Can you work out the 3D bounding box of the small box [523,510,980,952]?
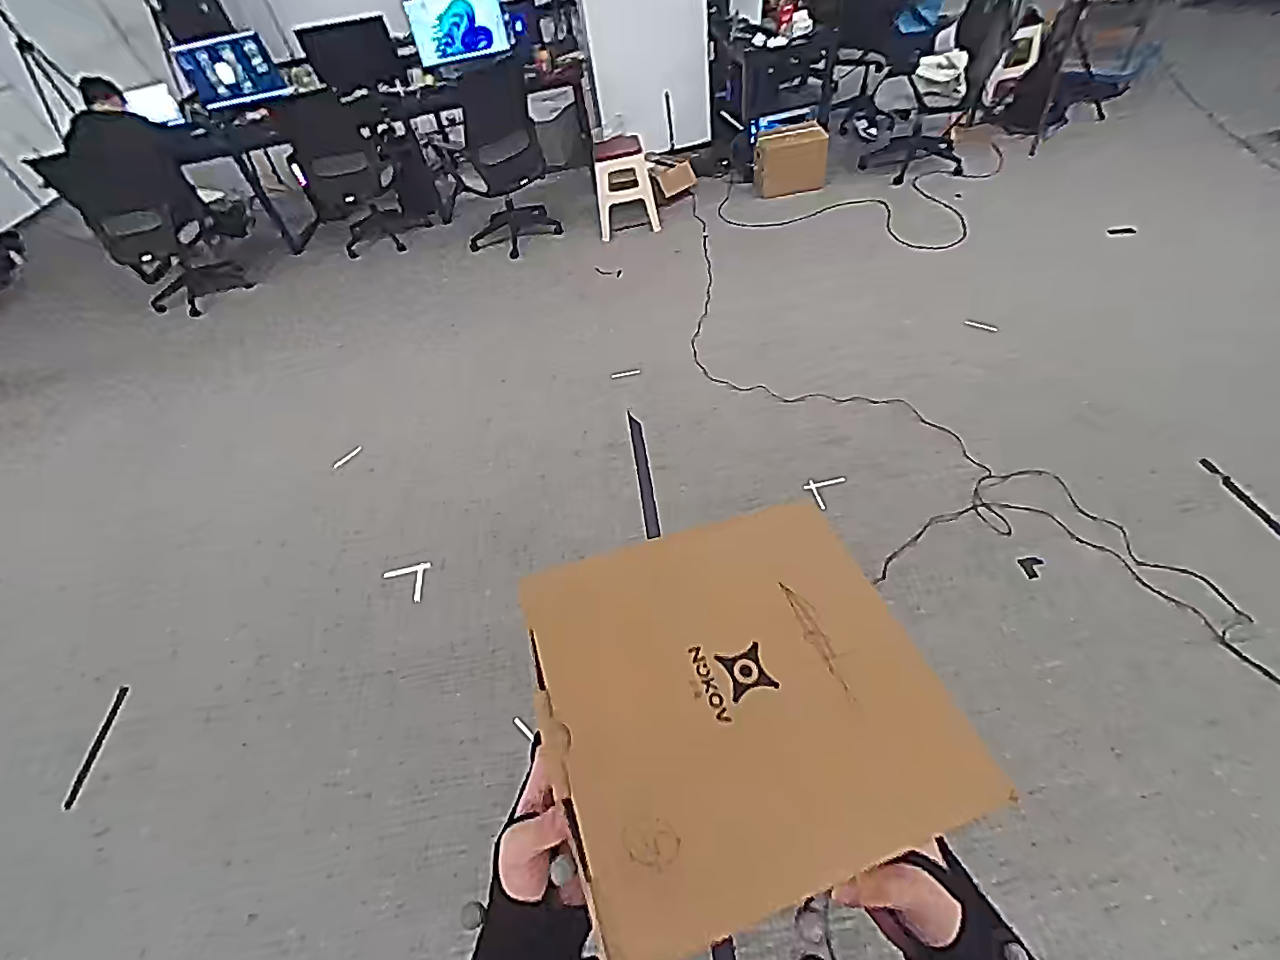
[{"bbox_3d":[0.041,0.148,0.322,0.179,0.176,0.168,-13,51,-15],"label":"small box"}]
